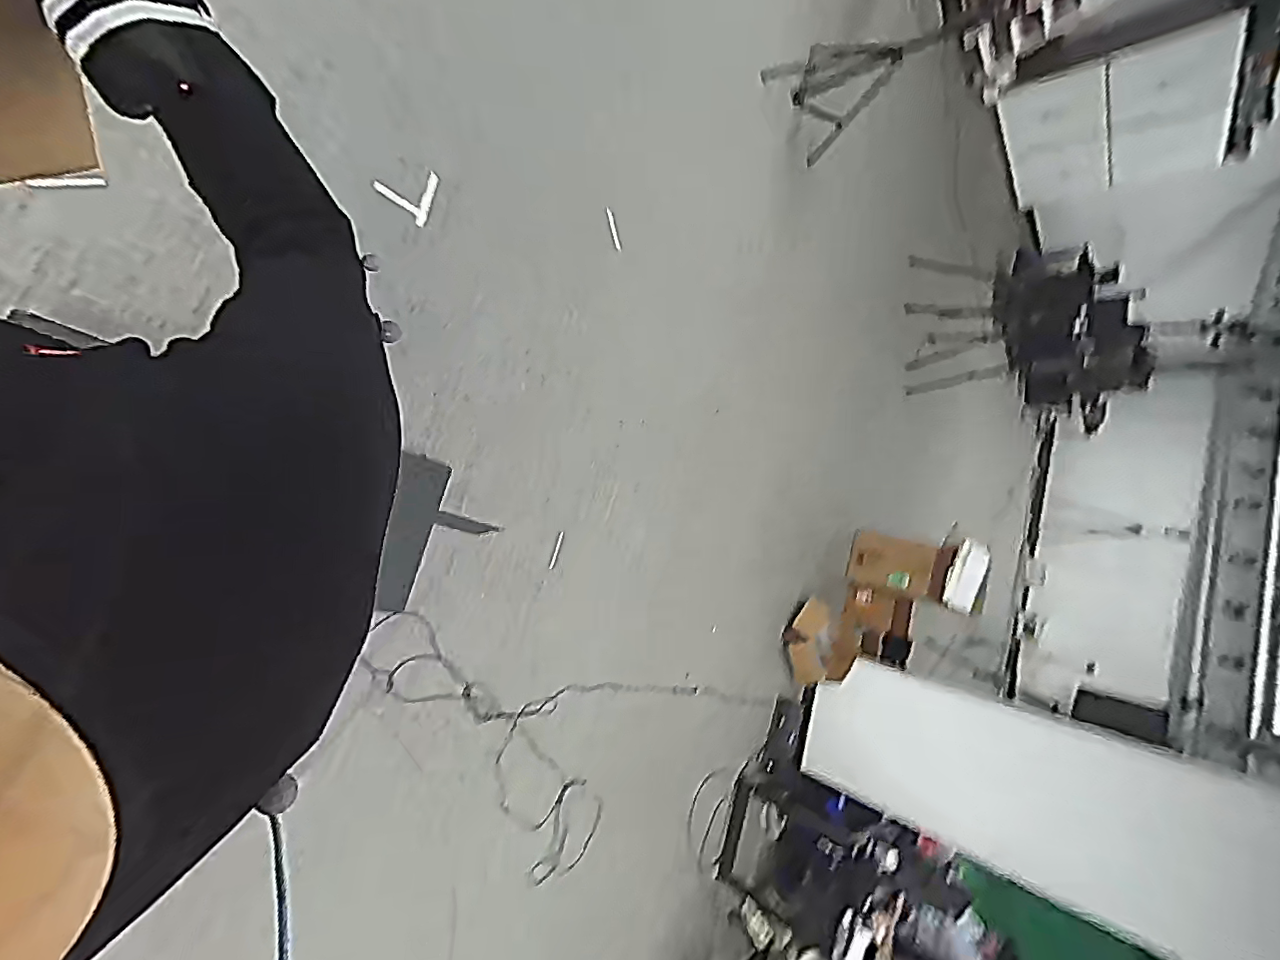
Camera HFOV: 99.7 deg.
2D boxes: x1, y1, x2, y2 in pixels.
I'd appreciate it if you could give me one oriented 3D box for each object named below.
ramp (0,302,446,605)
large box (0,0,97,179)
[{"bbox_3d":[-0.953,0.034,1.344,0.991,0.206,0.509,22,79,-45],"label":"ramp"},{"bbox_3d":[-0.606,-0.335,0.250,0.408,0.320,0.320,-38,115,-36],"label":"large box"}]
